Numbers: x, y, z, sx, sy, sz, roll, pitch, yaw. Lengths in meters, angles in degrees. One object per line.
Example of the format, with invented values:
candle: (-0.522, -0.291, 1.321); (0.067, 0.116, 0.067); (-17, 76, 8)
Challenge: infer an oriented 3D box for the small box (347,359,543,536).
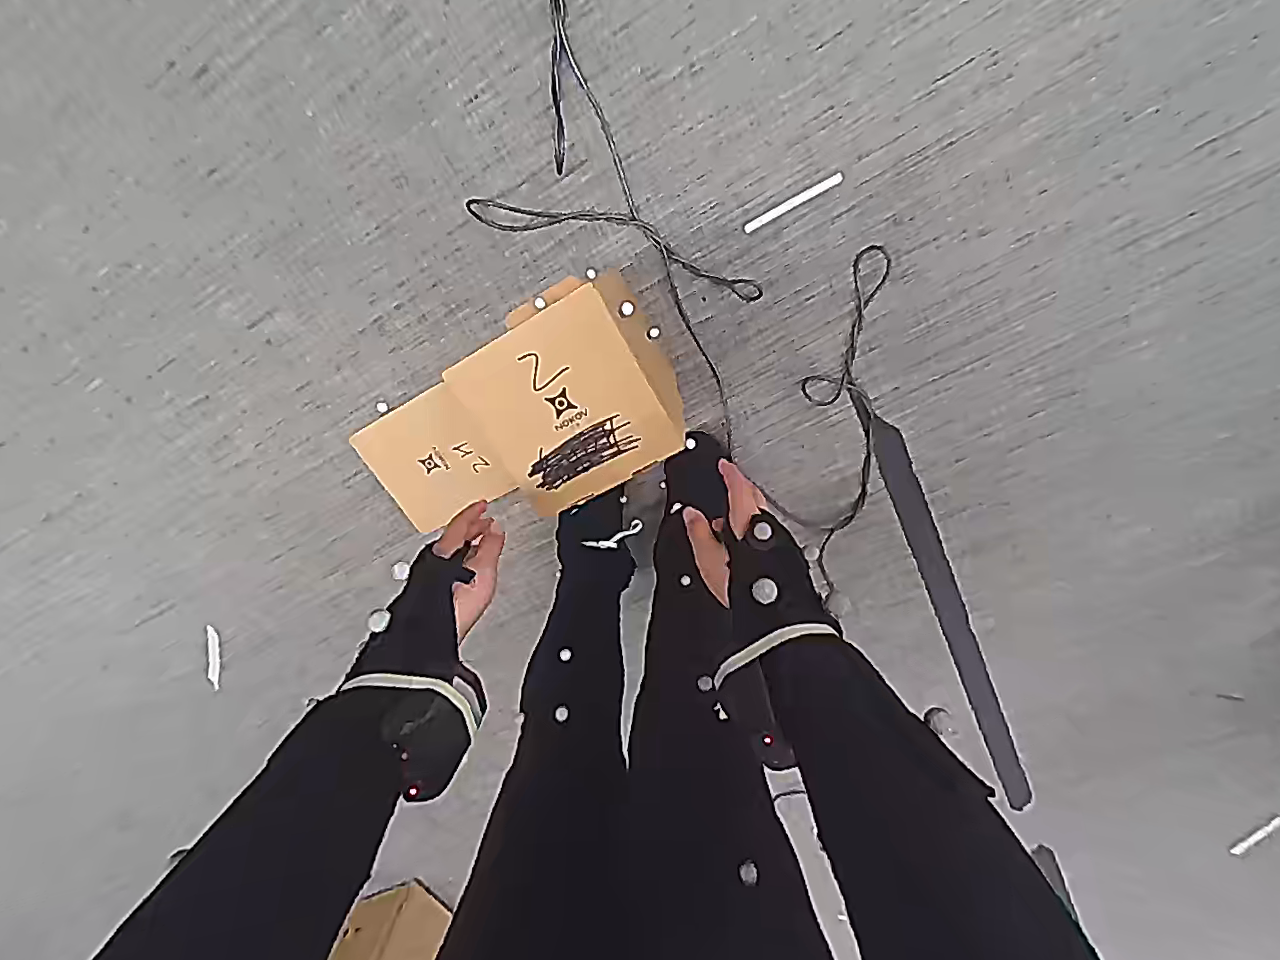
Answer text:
small box: (-0.266, -0.053, 0.781); (0.179, 0.176, 0.168); (-25, 110, 14)

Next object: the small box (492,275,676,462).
small box: (-0.065, -0.157, 0.729); (0.168, 0.176, 0.179); (-27, 110, 13)
